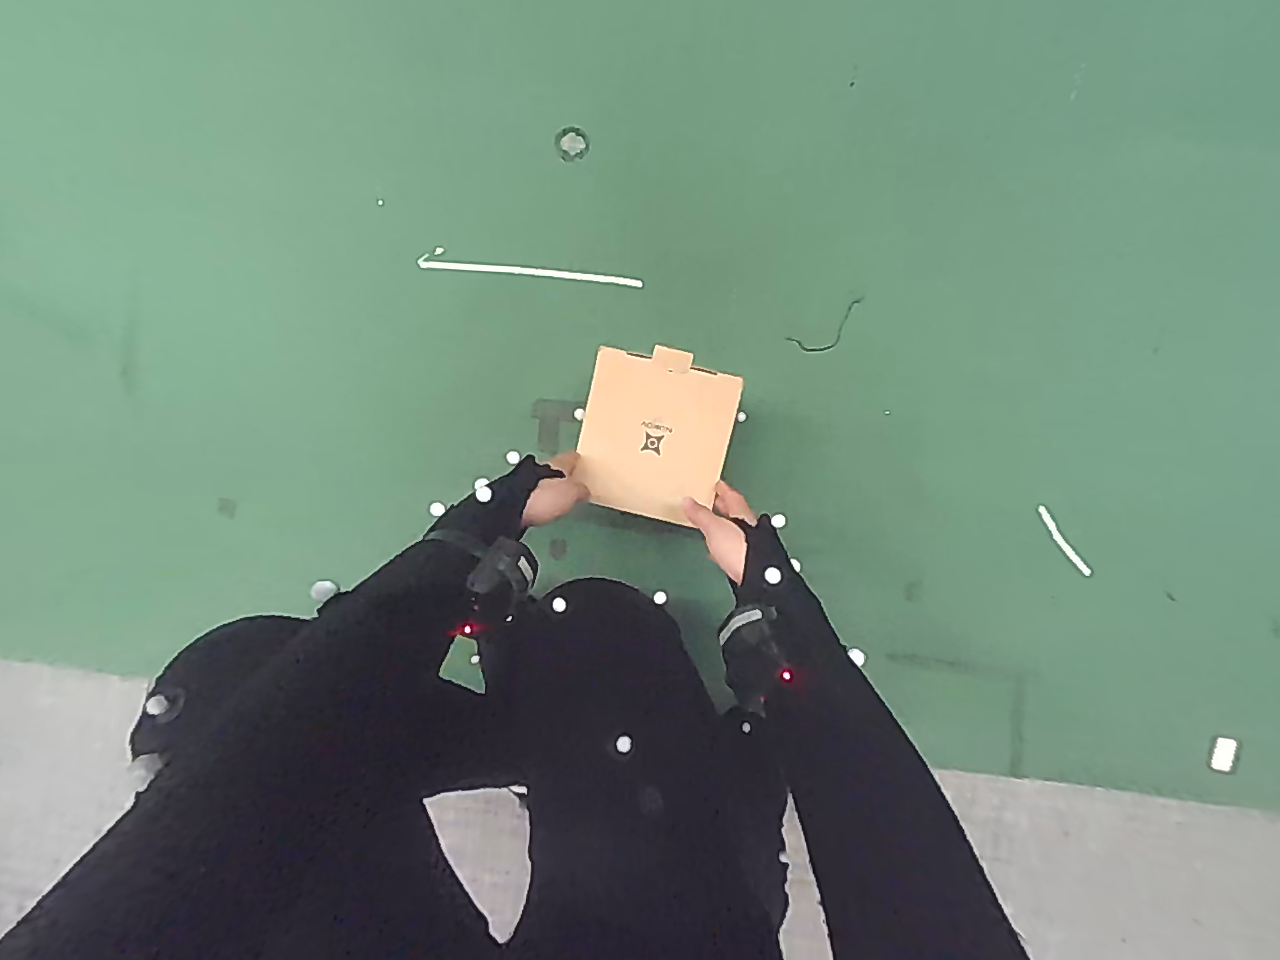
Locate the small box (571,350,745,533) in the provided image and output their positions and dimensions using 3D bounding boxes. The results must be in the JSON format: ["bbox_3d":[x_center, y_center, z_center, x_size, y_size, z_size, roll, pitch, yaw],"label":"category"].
[{"bbox_3d":[0.023,-0.048,0.681,0.168,0.176,0.179,13,94,1],"label":"small box"}]
